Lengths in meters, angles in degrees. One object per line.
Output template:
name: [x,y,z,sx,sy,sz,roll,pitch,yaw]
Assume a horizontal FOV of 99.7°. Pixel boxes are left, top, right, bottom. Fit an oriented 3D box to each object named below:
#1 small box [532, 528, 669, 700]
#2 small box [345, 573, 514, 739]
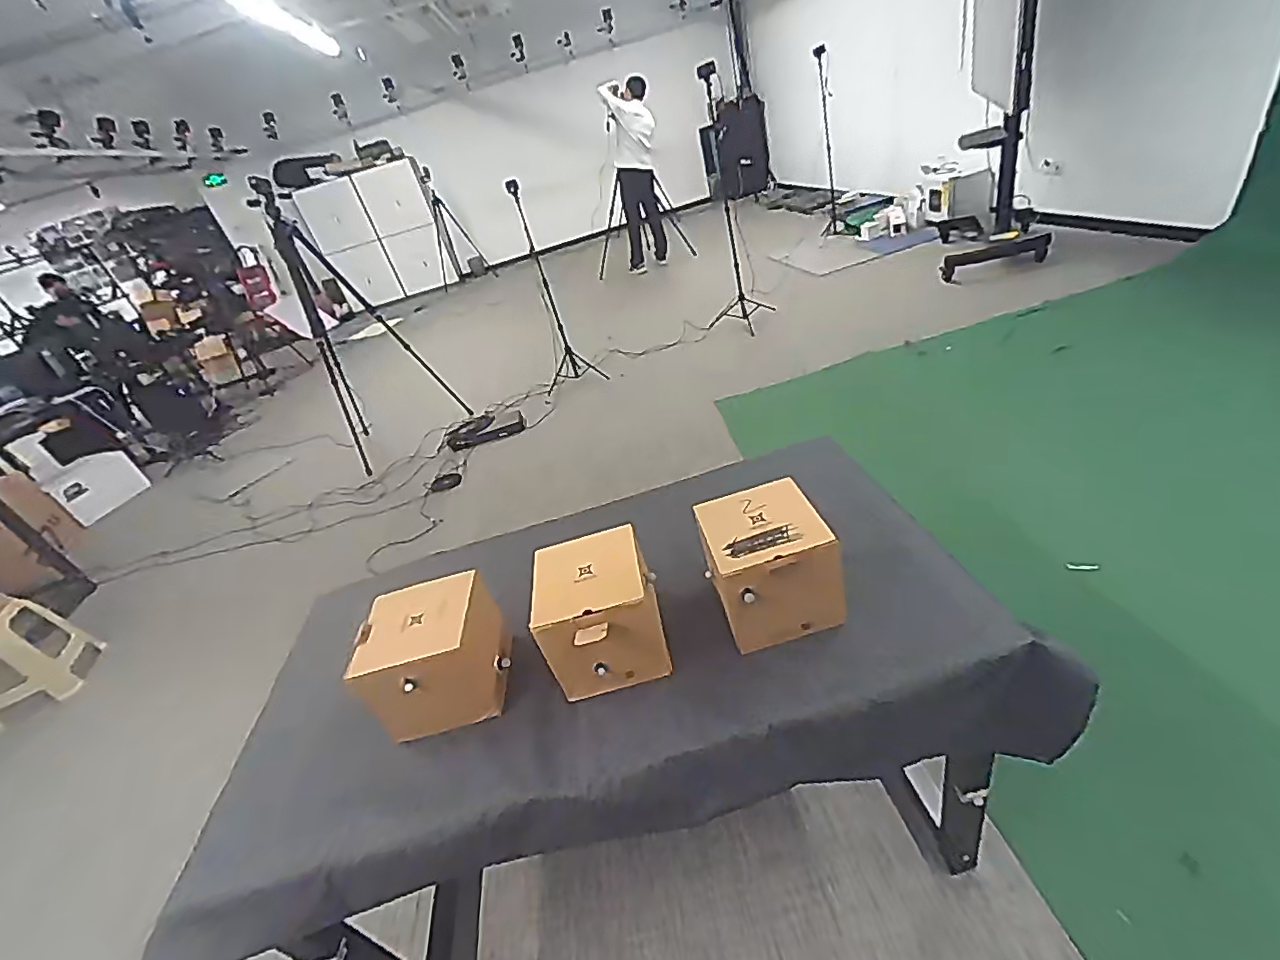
small box: [-0.060,0.208,0.849,0.168,0.176,0.179,-16,32,2]
small box: [-0.319,0.281,0.860,0.179,0.176,0.168,-15,33,1]
